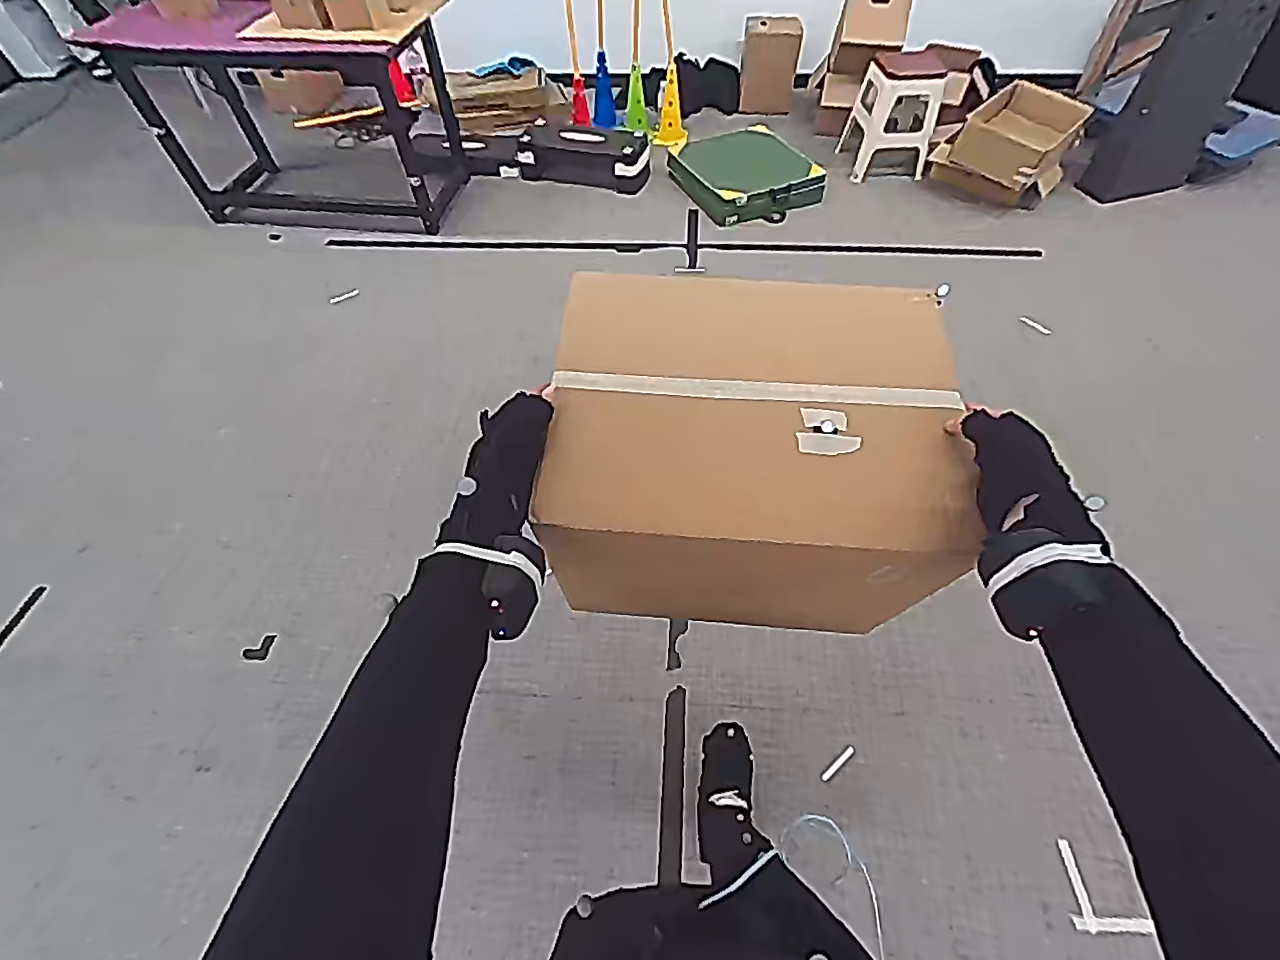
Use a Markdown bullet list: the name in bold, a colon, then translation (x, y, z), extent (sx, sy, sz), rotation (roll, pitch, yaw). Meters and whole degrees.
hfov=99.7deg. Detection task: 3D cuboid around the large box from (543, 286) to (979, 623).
- **large box**: translation (0.116, -0.015, 0.688), extent (0.408, 0.320, 0.320), rotation (4, 63, 2)
